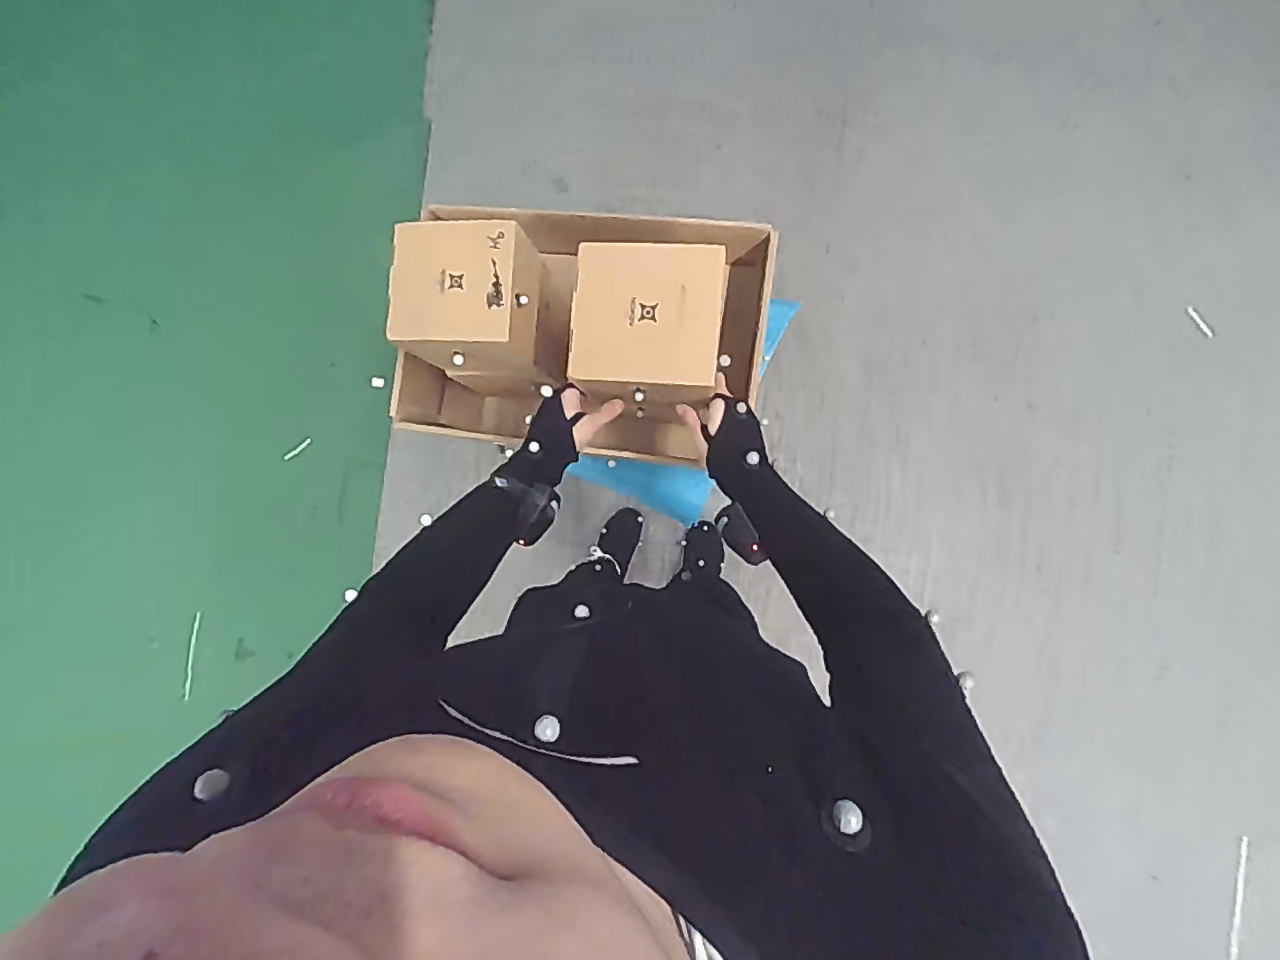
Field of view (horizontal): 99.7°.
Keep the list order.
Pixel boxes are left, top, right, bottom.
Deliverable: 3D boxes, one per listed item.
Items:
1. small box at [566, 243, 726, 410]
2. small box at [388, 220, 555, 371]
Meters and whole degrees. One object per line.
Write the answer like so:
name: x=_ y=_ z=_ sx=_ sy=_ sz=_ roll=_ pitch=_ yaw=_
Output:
small box: x=0.016 y=-0.189 z=0.705 sx=0.179 sy=0.176 sz=0.168 roll=5 pitch=88 yaw=7
small box: x=-0.239 y=-0.262 z=0.800 sx=0.179 sy=0.176 sz=0.168 roll=3 pitch=88 yaw=7
